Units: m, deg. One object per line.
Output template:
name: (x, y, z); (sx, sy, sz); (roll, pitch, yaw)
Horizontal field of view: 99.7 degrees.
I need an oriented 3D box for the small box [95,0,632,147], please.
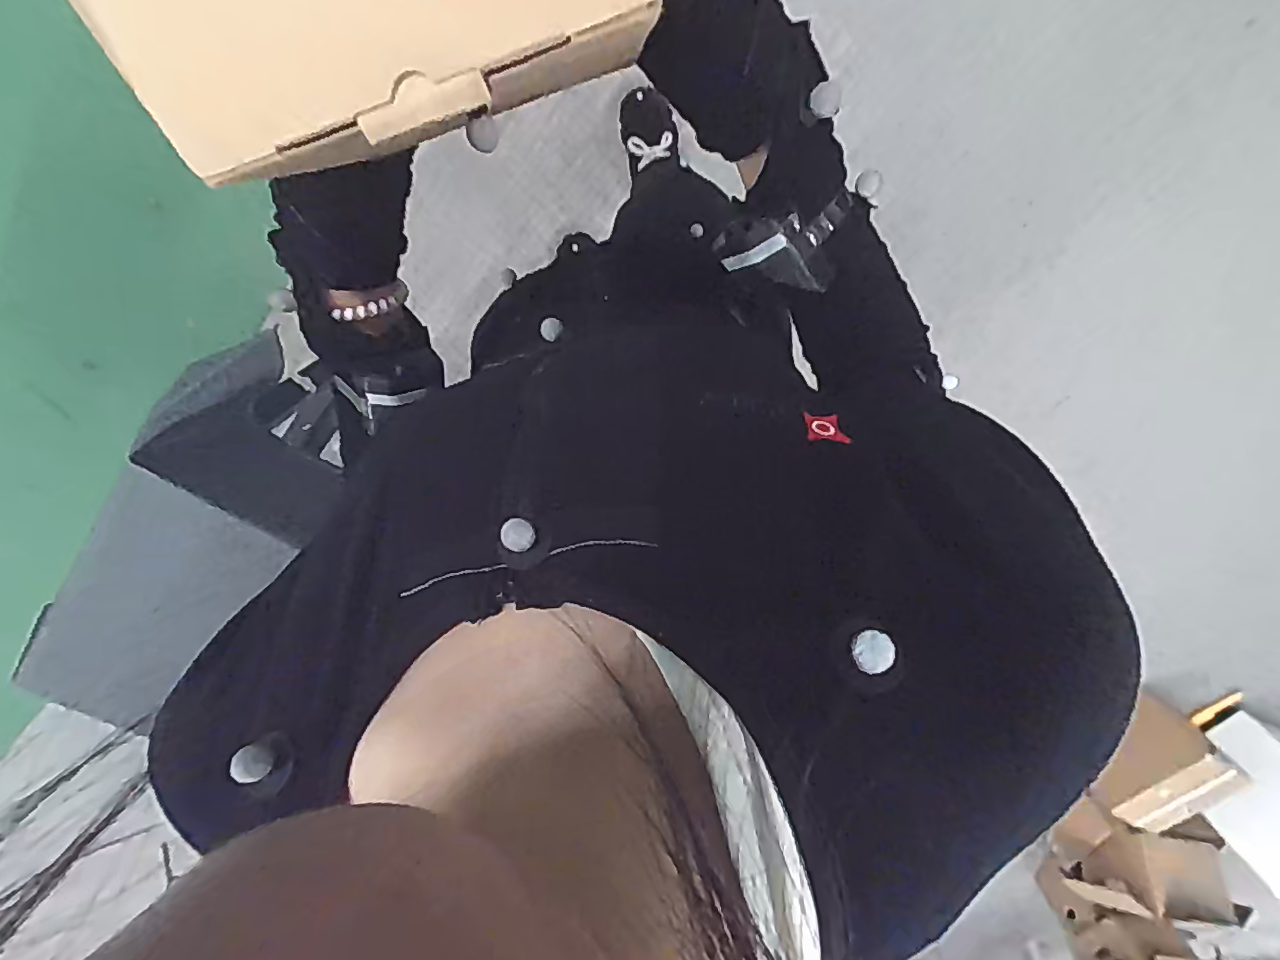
small box: (-0.099, -0.245, 0.191); (0.168, 0.176, 0.179); (-16, 123, 6)
